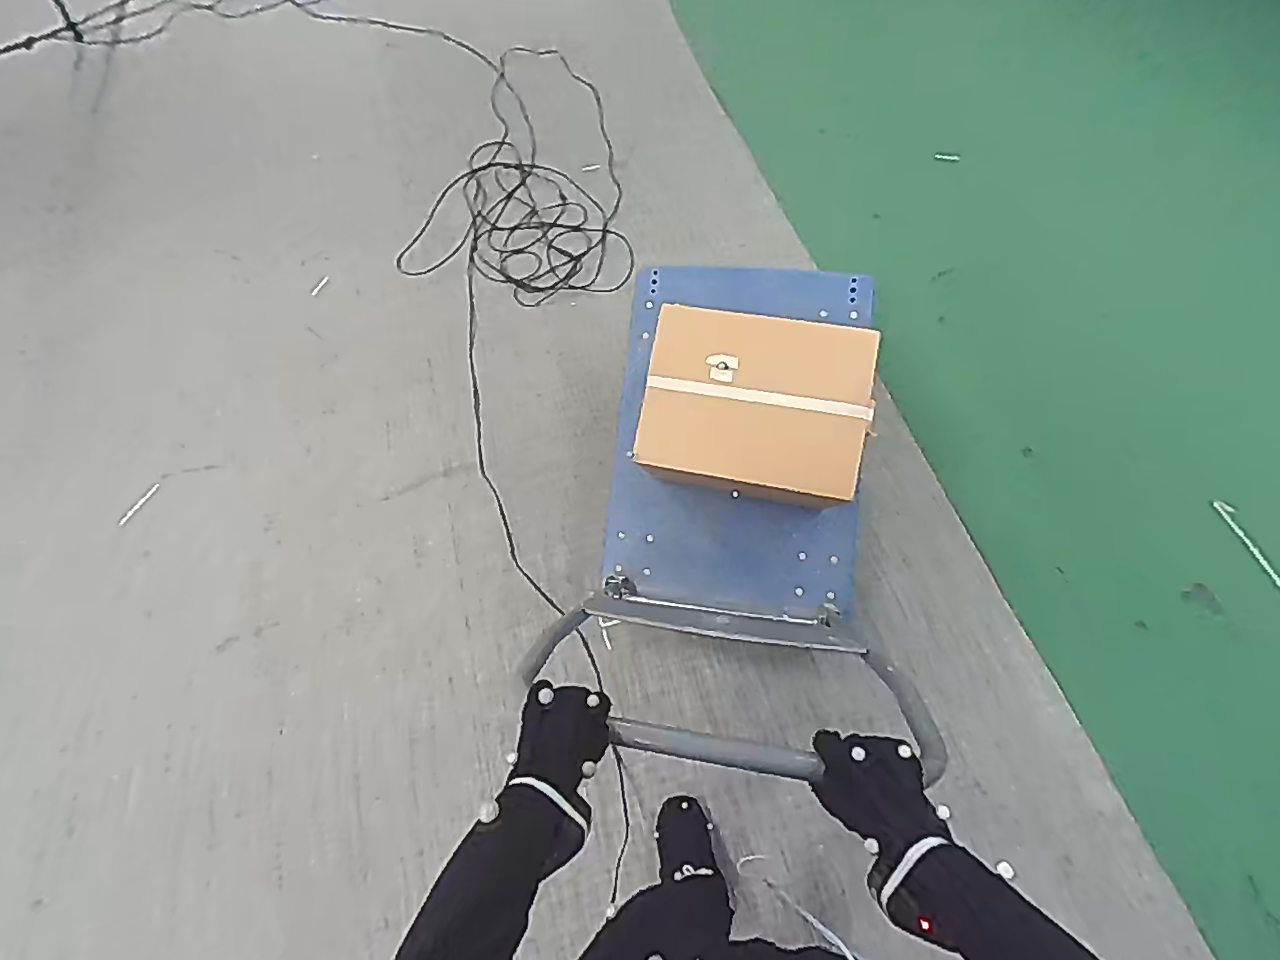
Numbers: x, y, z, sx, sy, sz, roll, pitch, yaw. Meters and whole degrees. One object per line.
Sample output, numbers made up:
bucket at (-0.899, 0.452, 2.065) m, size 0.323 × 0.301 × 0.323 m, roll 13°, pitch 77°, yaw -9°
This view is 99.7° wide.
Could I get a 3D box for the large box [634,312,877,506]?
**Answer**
large box at (0.235, -0.130, 1.133) m, size 0.408 × 0.320 × 0.320 m, roll 10°, pitch 86°, yaw 11°
